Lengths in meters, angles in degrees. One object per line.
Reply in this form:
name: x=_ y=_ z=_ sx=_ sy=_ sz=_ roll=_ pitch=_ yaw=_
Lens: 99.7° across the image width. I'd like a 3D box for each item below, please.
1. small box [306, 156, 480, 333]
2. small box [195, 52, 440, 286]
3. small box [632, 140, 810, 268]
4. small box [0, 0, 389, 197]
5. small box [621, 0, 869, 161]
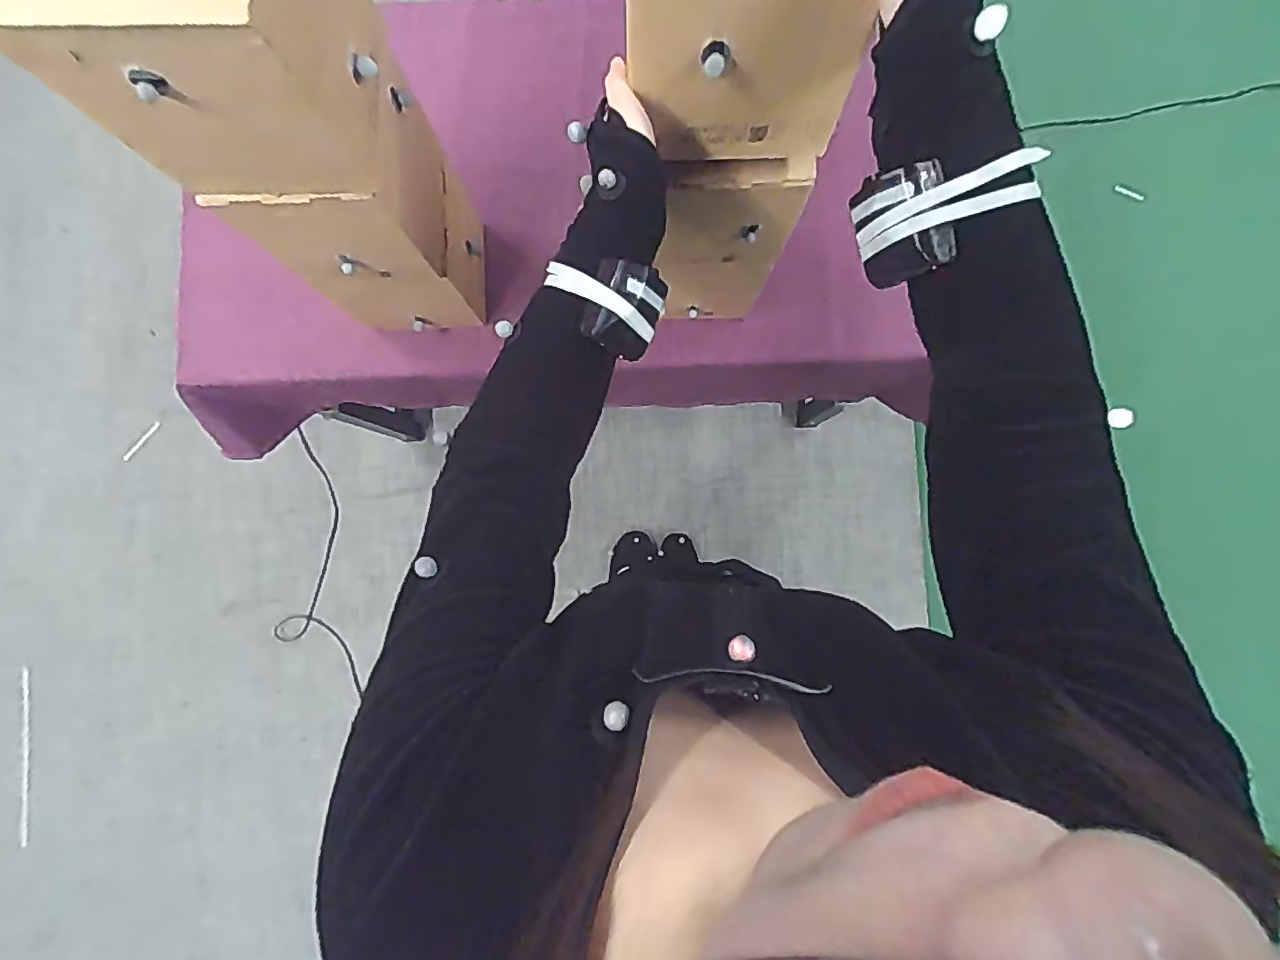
small box: x=-0.326 y=-0.312 z=0.746 sx=0.179 sy=0.176 sz=0.168 roll=-4 pitch=85 yaw=-1
small box: x=-0.326 y=-0.330 z=0.581 sx=0.168 sy=0.176 sz=0.179 roll=-2 pitch=86 yaw=0
small box: x=0.075 y=-0.344 z=0.583 sx=0.168 sy=0.176 sz=0.179 roll=-2 pitch=85 yaw=0
small box: x=-0.321 y=-0.344 z=0.418 sx=0.179 sy=0.176 sz=0.168 roll=0 pitch=86 yaw=-1
small box: x=0.071 y=-0.372 z=0.410 sx=0.168 sy=0.176 sz=0.179 roll=-1 pitch=76 yaw=1
